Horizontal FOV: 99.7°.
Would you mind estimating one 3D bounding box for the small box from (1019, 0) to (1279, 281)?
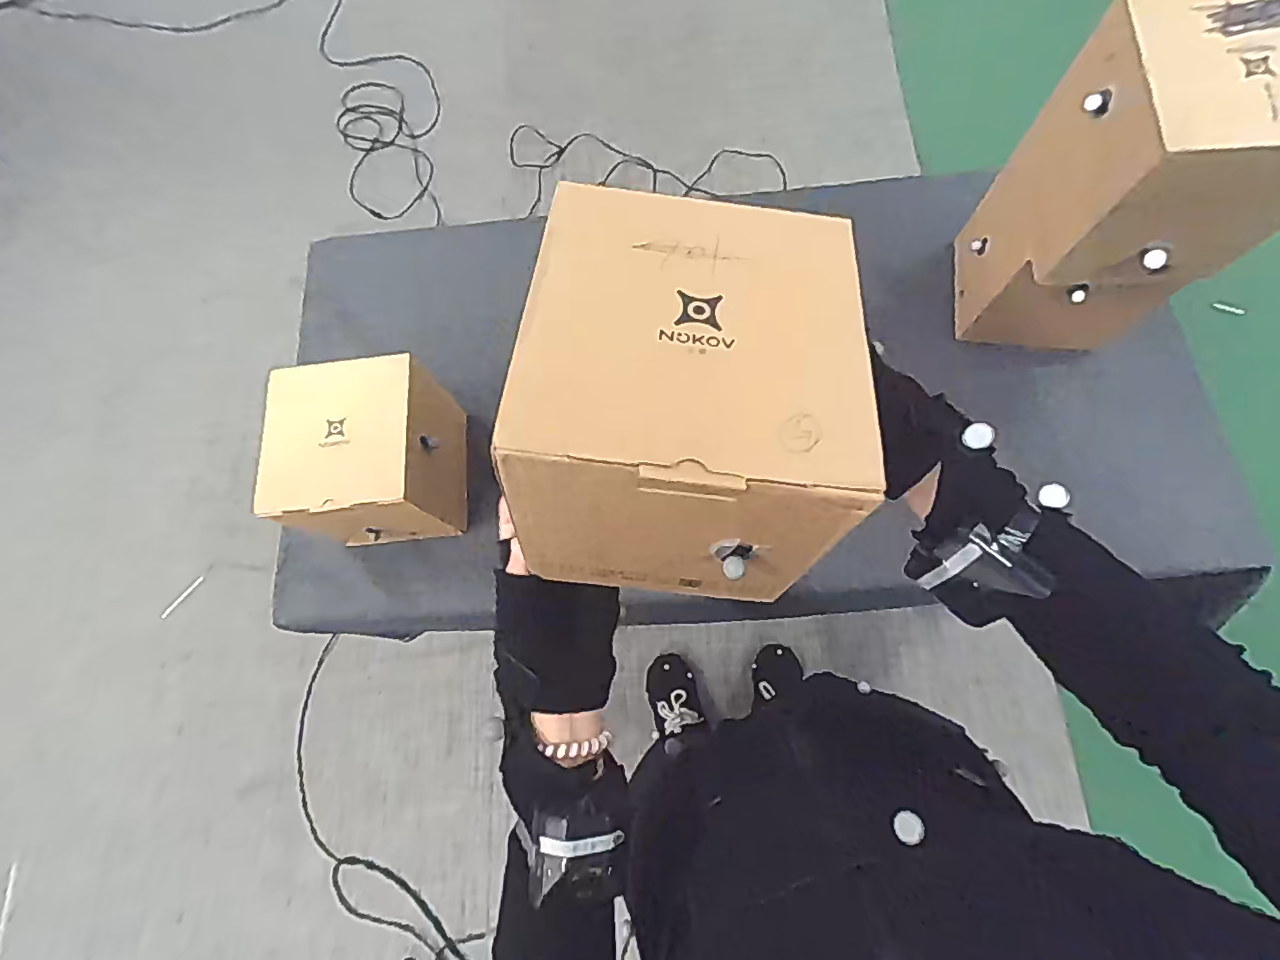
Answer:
[{"bbox_3d":[0.488,-0.311,0.501,0.168,0.176,0.179,1,75,6],"label":"small box"}]

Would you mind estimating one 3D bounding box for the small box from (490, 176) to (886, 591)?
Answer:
[{"bbox_3d":[0.022,-0.042,0.326,0.168,0.176,0.179,7,63,-2],"label":"small box"}]

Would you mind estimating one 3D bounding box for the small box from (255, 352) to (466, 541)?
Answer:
[{"bbox_3d":[-0.323,-0.032,0.663,0.168,0.176,0.179,-6,73,3],"label":"small box"}]

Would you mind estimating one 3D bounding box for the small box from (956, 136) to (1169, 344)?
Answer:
[{"bbox_3d":[0.511,-0.283,0.662,0.179,0.176,0.168,7,75,7],"label":"small box"}]
